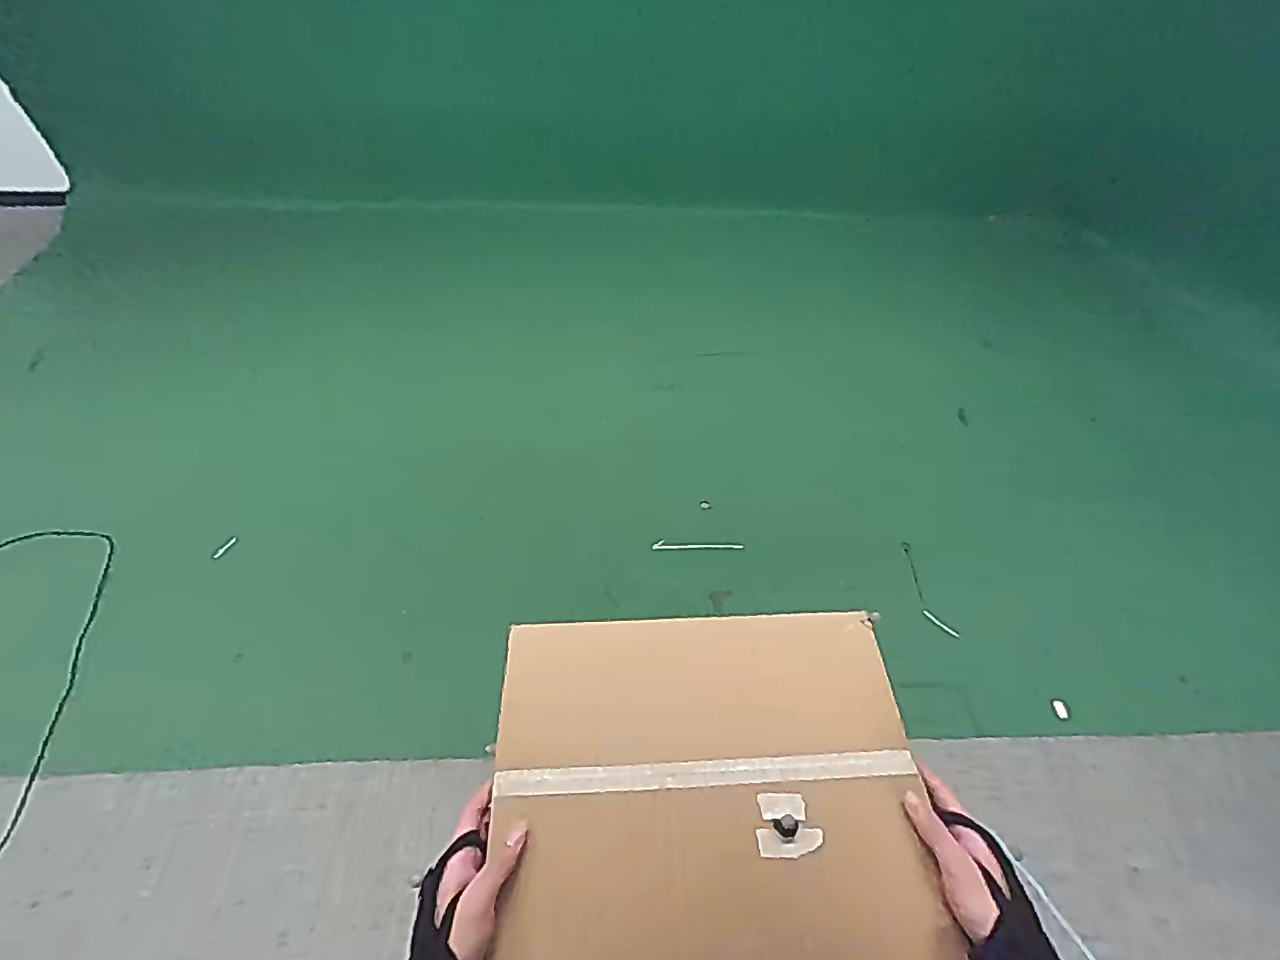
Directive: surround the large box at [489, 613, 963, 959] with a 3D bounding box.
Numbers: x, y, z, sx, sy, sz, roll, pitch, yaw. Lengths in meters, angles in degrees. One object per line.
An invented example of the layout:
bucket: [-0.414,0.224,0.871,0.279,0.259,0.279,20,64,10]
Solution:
large box: [0.063,0.376,0.647,0.408,0.320,0.320,-2,53,-2]
